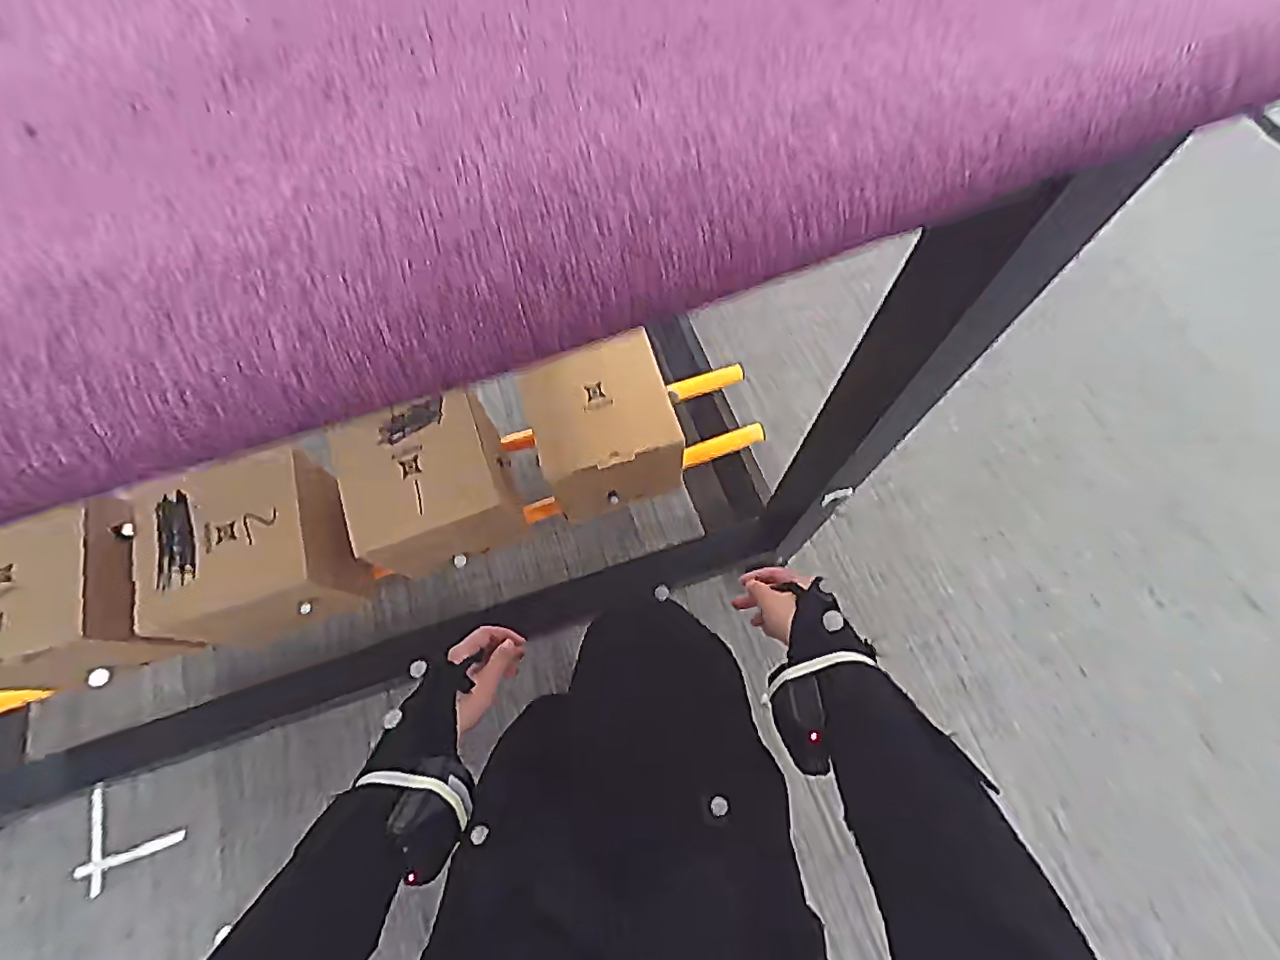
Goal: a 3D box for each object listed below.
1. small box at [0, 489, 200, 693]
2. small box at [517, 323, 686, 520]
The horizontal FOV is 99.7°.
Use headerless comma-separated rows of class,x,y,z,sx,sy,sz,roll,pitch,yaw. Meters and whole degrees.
small box,-0.658,0.136,0.629,0.168,0.176,0.179,-17,70,-7
small box,-0.048,-0.068,0.705,0.168,0.176,0.179,-17,70,-4
